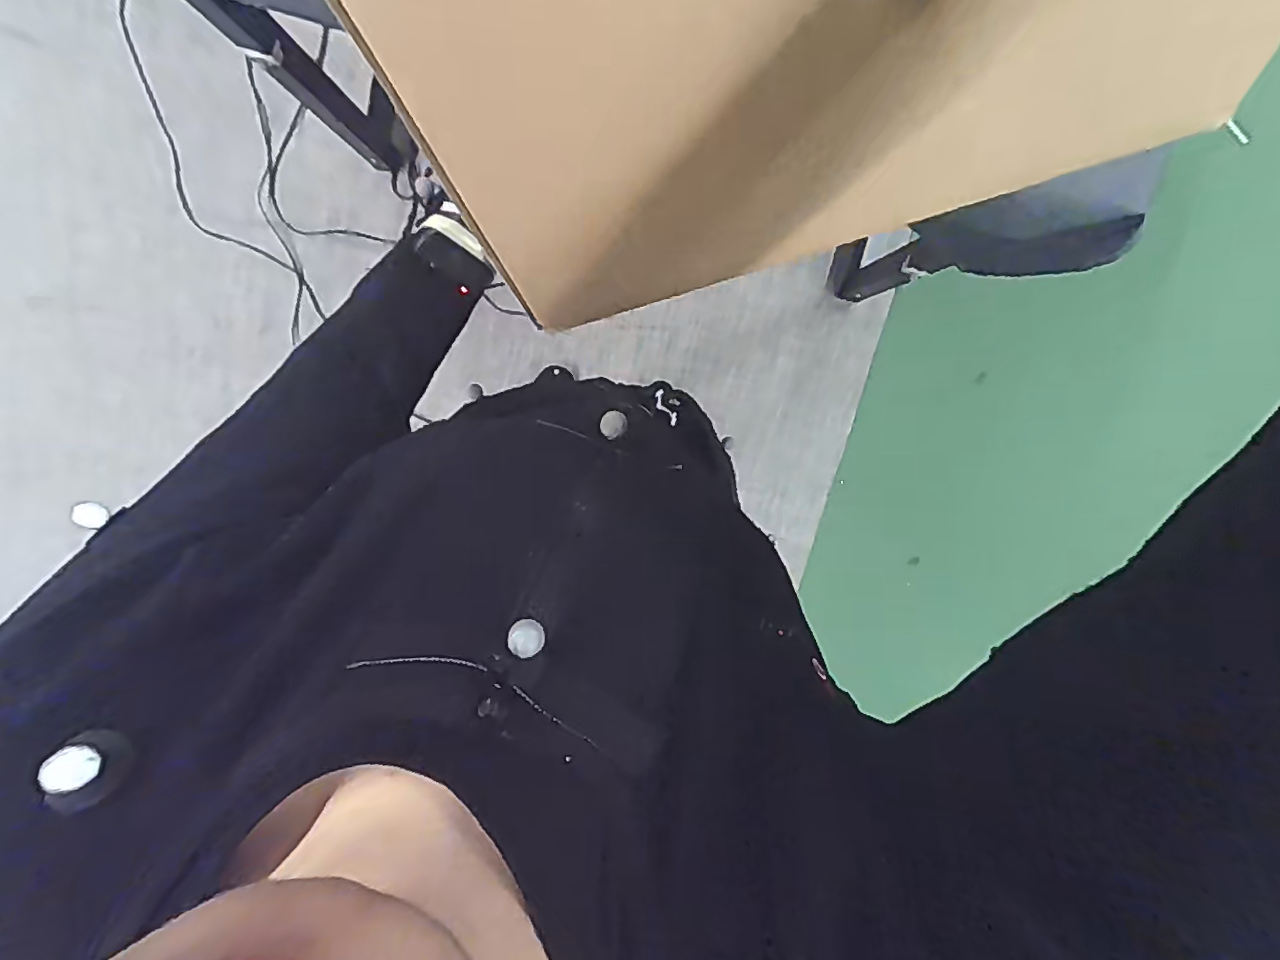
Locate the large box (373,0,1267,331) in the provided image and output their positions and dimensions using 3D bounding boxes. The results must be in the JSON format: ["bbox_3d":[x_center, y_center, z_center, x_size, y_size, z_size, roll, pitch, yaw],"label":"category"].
[{"bbox_3d":[0.074,-0.345,0.284,0.408,0.320,0.320,-17,60,9],"label":"large box"}]
